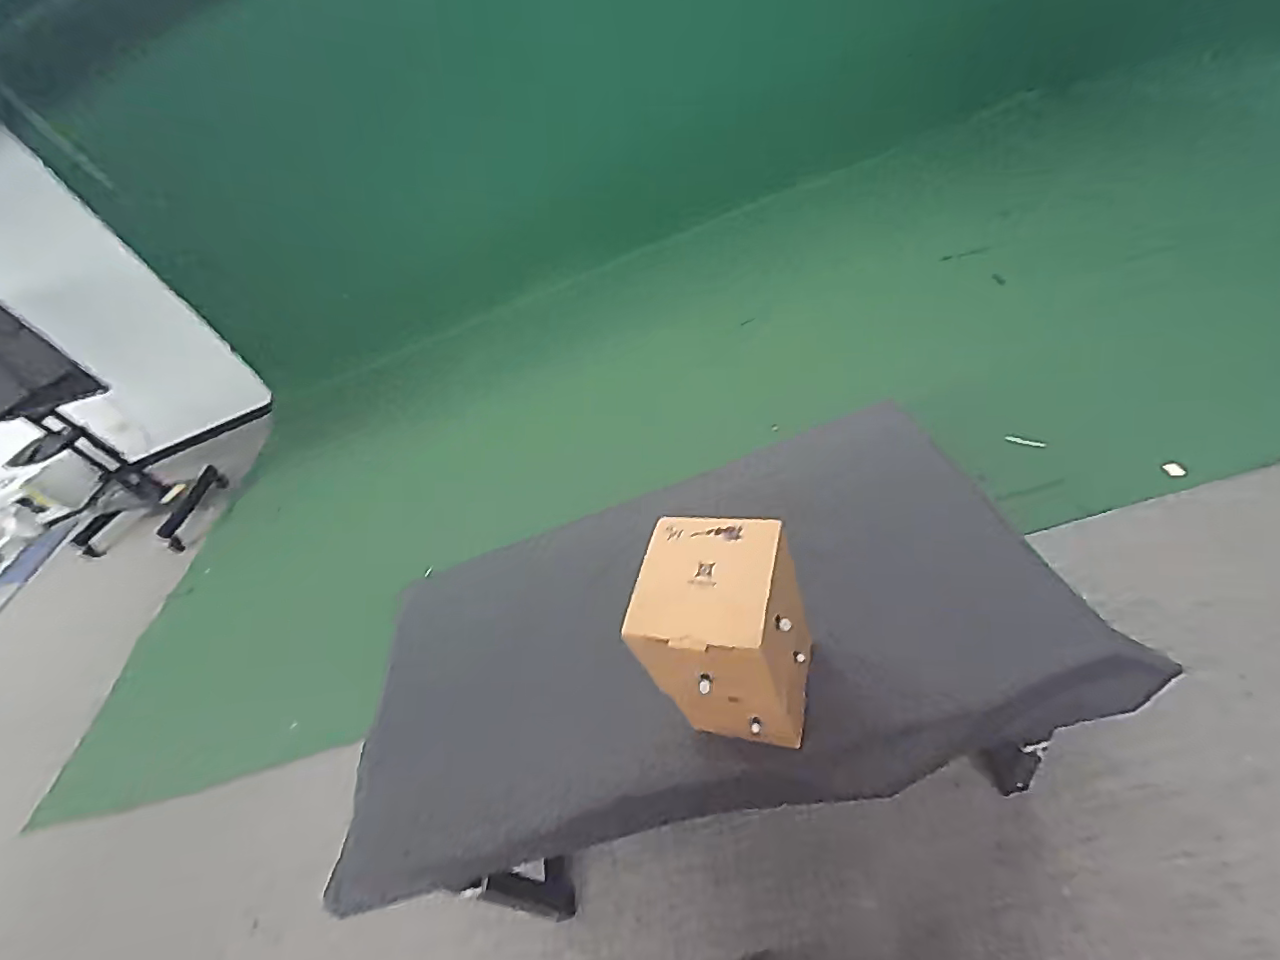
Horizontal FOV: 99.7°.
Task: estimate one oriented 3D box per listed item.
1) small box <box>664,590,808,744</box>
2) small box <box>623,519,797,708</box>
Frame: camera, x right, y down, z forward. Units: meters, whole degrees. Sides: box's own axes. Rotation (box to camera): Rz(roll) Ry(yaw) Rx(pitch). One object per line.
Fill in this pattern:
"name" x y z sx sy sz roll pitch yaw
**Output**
"small box" 0.154 0.272 0.812 0.168 0.176 0.179 0 47 25
"small box" 0.102 0.170 0.694 0.168 0.176 0.179 0 49 25
